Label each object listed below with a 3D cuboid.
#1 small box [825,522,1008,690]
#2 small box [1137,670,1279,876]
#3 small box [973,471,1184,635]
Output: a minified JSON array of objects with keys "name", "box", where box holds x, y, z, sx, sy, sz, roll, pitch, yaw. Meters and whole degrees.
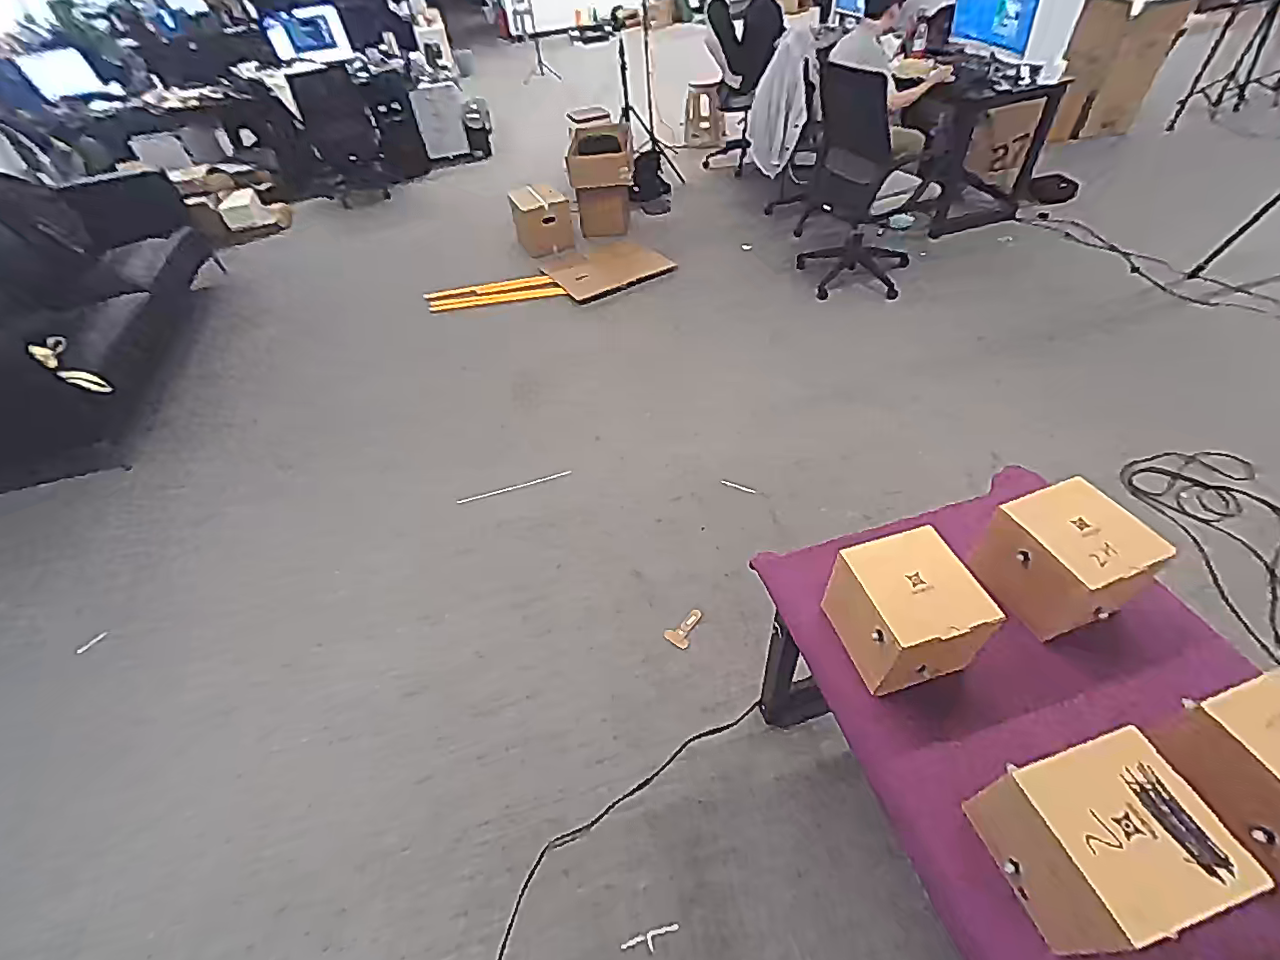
[{"name":"small box","box":[0.415,0.199,0.850,0.168,0.176,0.179,-14,48,-7]},{"name":"small box","box":[0.789,0.354,0.659,0.168,0.176,0.179,-17,47,-8]},{"name":"small box","box":[0.692,0.120,0.883,0.168,0.176,0.179,-19,48,-8]}]
